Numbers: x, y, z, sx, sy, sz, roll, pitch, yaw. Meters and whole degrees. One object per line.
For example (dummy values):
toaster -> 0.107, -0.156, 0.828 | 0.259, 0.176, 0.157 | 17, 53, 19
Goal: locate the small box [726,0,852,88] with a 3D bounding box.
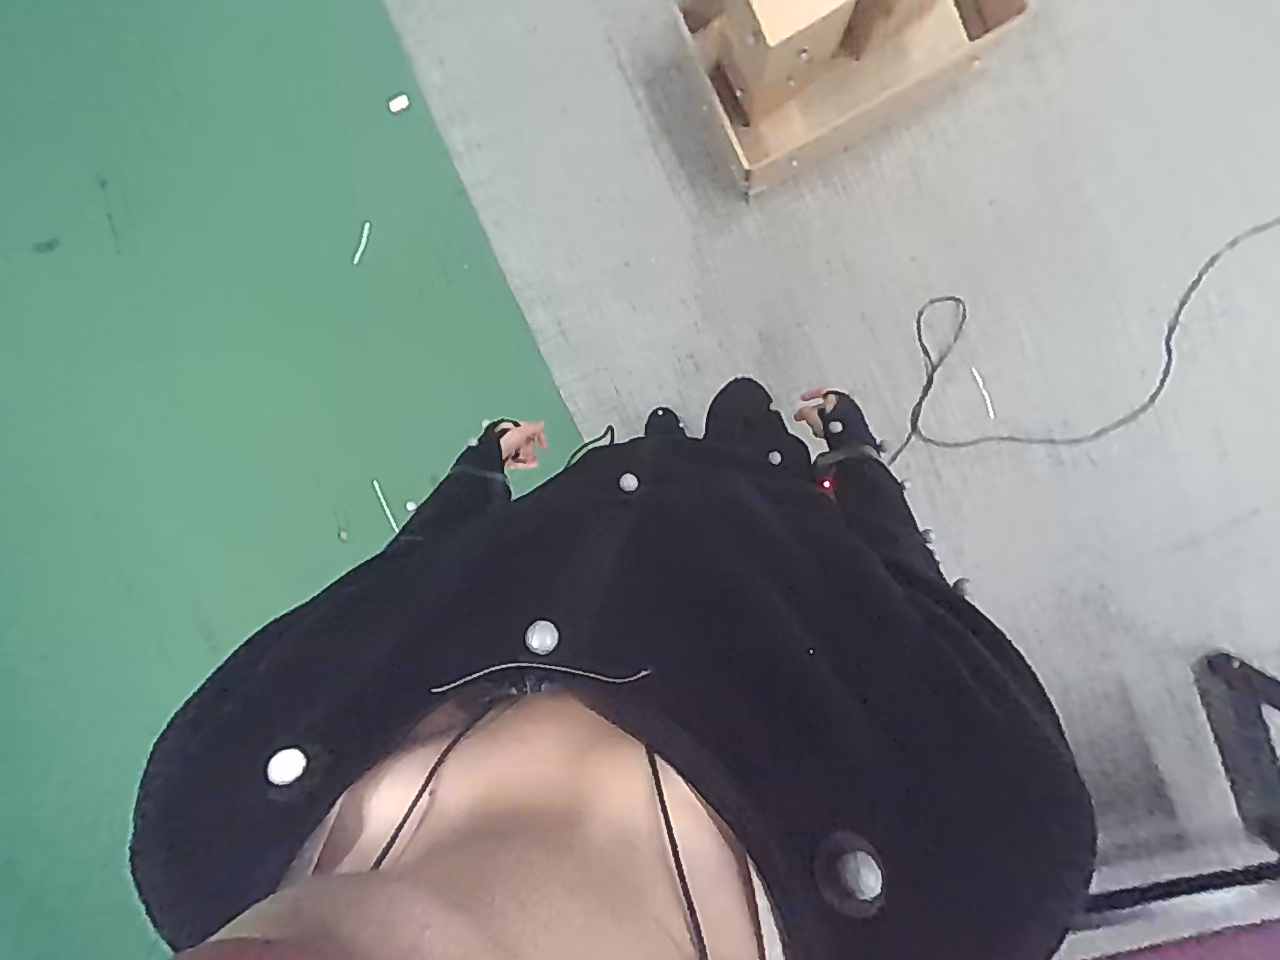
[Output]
small box -> 0.274, -0.892, 1.025 | 0.168, 0.176, 0.179 | -25, 97, 10

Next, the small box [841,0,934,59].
small box -> 0.518, -1.046, 1.131 | 0.179, 0.176, 0.168 | -30, 96, 11

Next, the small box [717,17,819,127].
small box -> 0.282, -0.925, 1.185 | 0.179, 0.176, 0.168 | -29, 96, 10

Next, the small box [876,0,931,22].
small box -> 0.512, -0.999, 0.973 | 0.168, 0.176, 0.179 | -26, 95, 12
